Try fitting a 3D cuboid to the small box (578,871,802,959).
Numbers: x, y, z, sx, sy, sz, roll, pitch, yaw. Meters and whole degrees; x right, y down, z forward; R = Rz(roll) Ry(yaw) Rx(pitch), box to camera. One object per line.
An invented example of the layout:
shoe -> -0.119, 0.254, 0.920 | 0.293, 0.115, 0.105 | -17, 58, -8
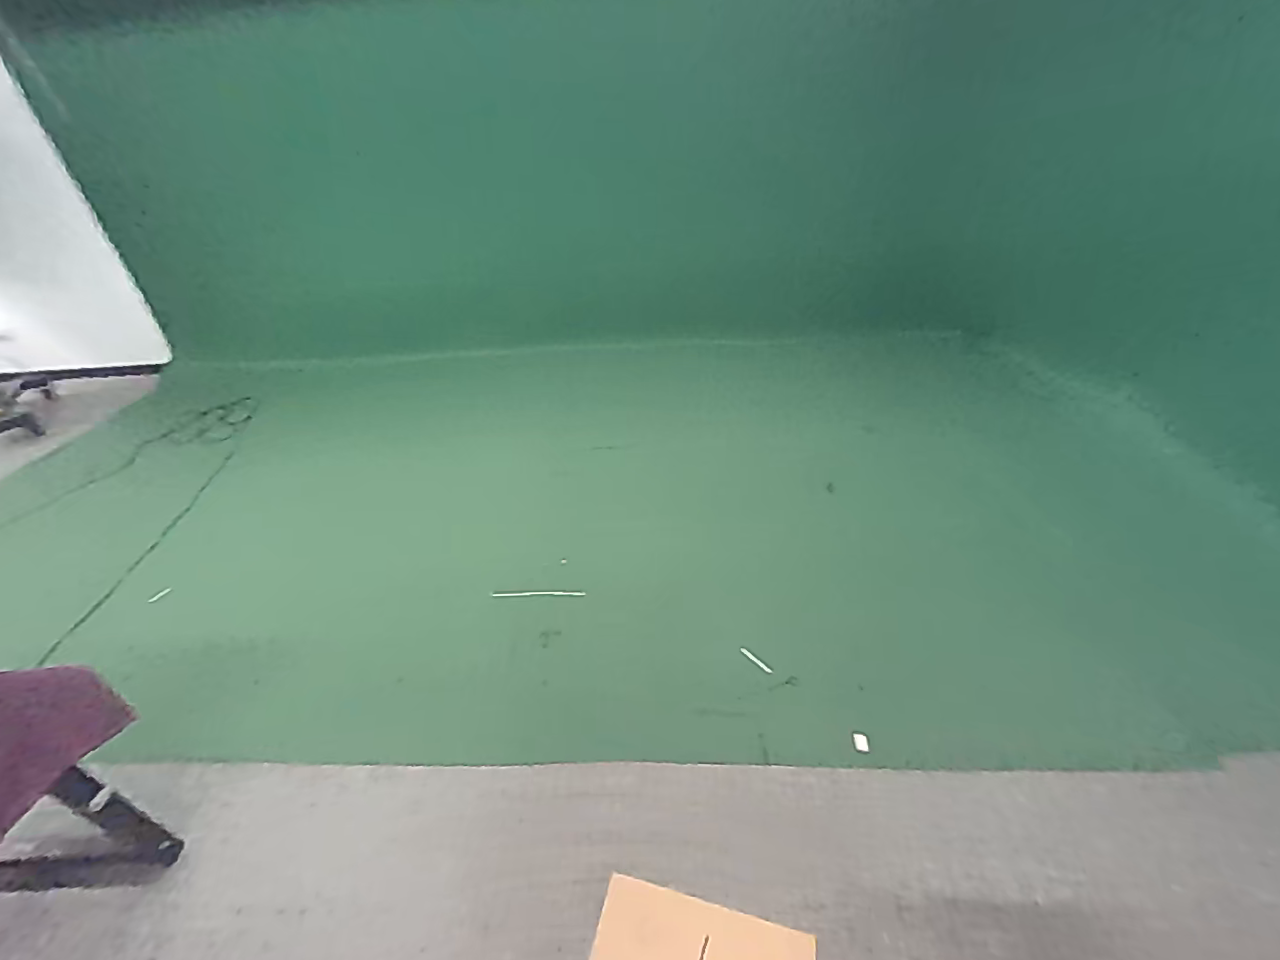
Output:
small box -> 0.030, 0.454, 0.429 | 0.168, 0.176, 0.179 | 7, 44, 14
